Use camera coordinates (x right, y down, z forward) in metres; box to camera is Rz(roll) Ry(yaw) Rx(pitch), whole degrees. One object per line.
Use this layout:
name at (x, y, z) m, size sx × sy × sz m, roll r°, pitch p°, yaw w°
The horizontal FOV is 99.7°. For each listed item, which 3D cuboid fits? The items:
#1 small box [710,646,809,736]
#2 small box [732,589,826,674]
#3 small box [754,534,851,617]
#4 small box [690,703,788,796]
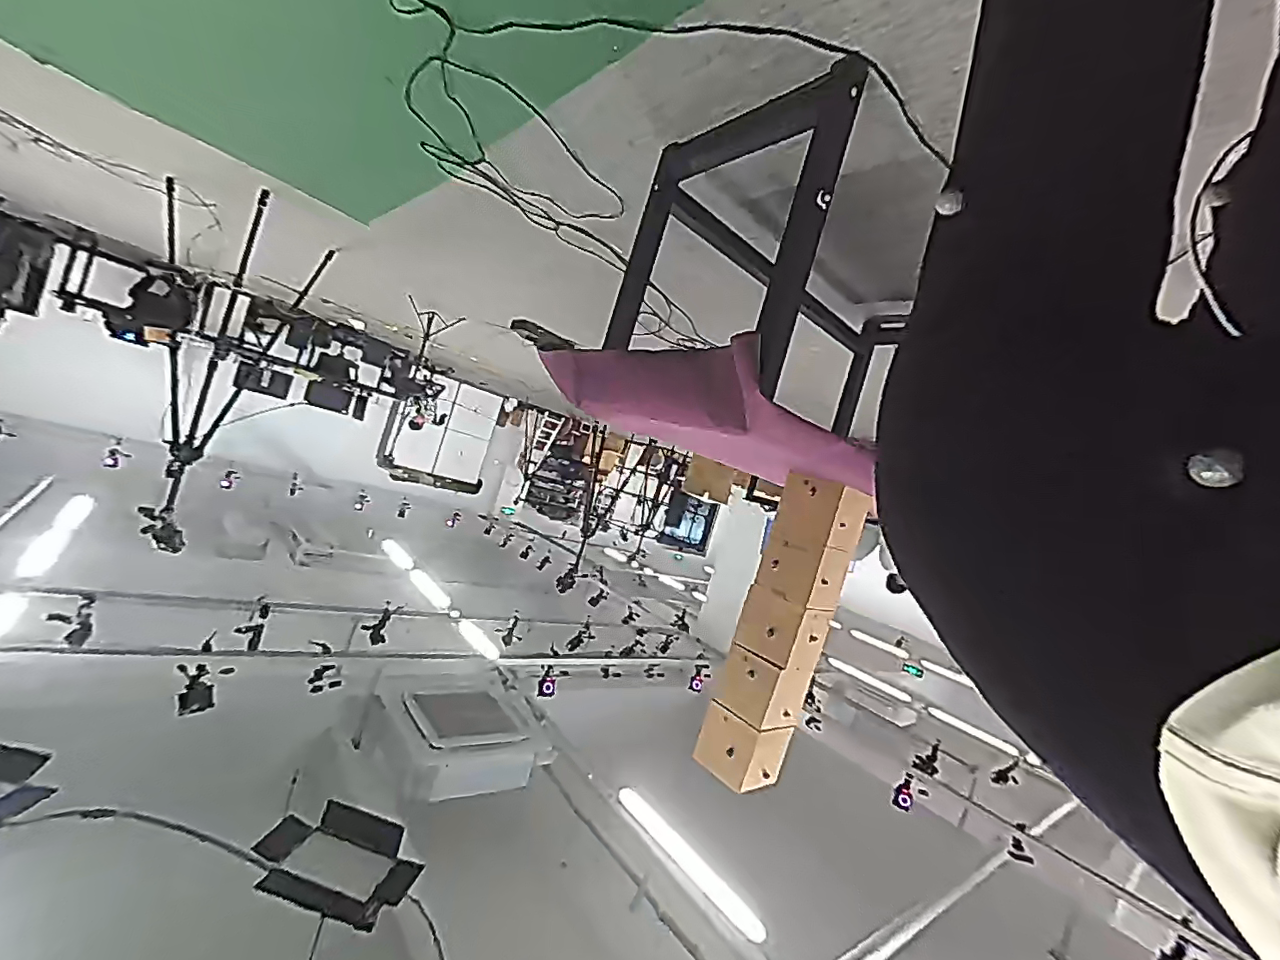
small box at (0.327, 0.560, 1.458) m, size 0.179 × 0.176 × 0.168 m, roll 21°, pitch 179°, yaw -42°
small box at (0.382, 0.405, 1.458) m, size 0.168 × 0.176 × 0.179 m, roll 20°, pitch 179°, yaw -44°
small box at (0.439, 0.252, 1.454) m, size 0.179 × 0.176 × 0.168 m, roll 19°, pitch 180°, yaw -44°
small box at (0.268, 0.711, 1.455) m, size 0.179 × 0.176 × 0.168 m, roll 19°, pitch 180°, yaw -43°
